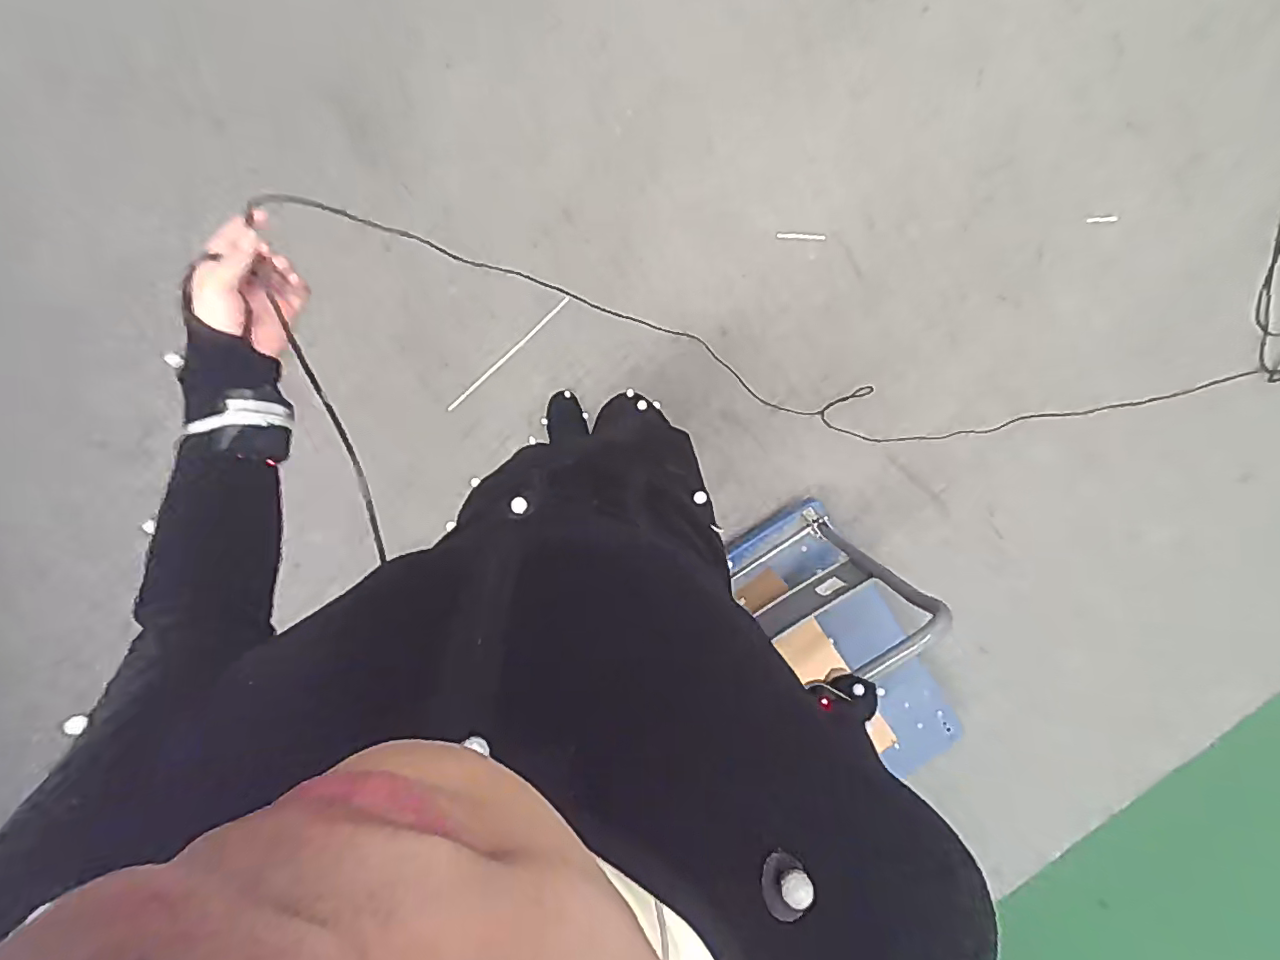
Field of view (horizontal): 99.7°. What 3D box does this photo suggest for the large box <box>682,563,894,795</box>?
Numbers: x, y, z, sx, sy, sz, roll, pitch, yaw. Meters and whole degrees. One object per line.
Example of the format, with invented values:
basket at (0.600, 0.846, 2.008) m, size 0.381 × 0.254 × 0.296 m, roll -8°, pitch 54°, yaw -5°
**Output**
large box at (0.361, 0.495, 1.413) m, size 0.320 × 0.320 × 0.408 m, roll -35°, pitch 99°, yaw 4°
